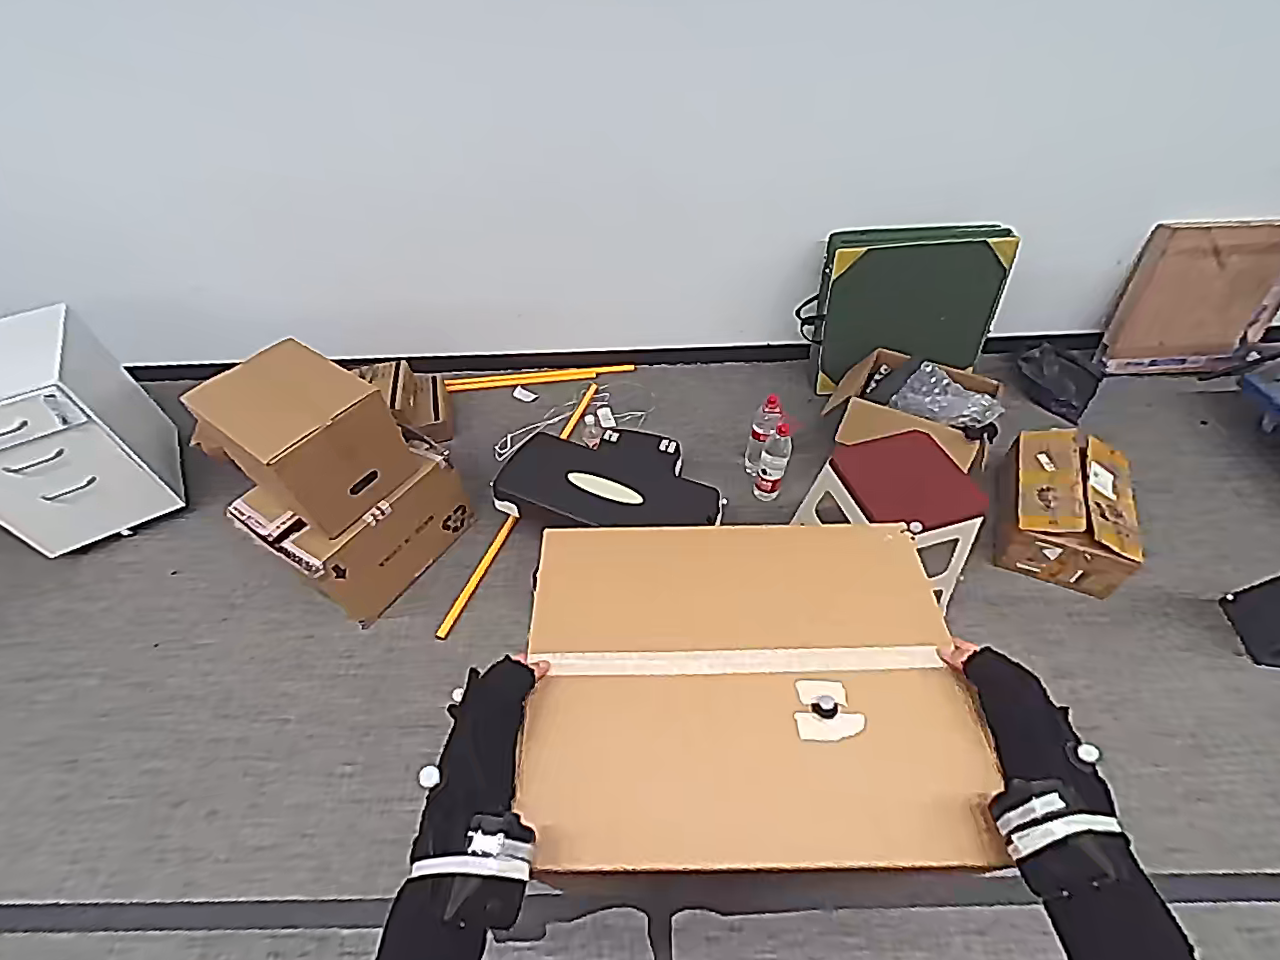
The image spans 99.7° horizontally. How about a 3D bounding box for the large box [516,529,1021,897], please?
[{"bbox_3d":[0.098,0.273,0.626,0.408,0.320,0.320,-1,50,0],"label":"large box"}]
